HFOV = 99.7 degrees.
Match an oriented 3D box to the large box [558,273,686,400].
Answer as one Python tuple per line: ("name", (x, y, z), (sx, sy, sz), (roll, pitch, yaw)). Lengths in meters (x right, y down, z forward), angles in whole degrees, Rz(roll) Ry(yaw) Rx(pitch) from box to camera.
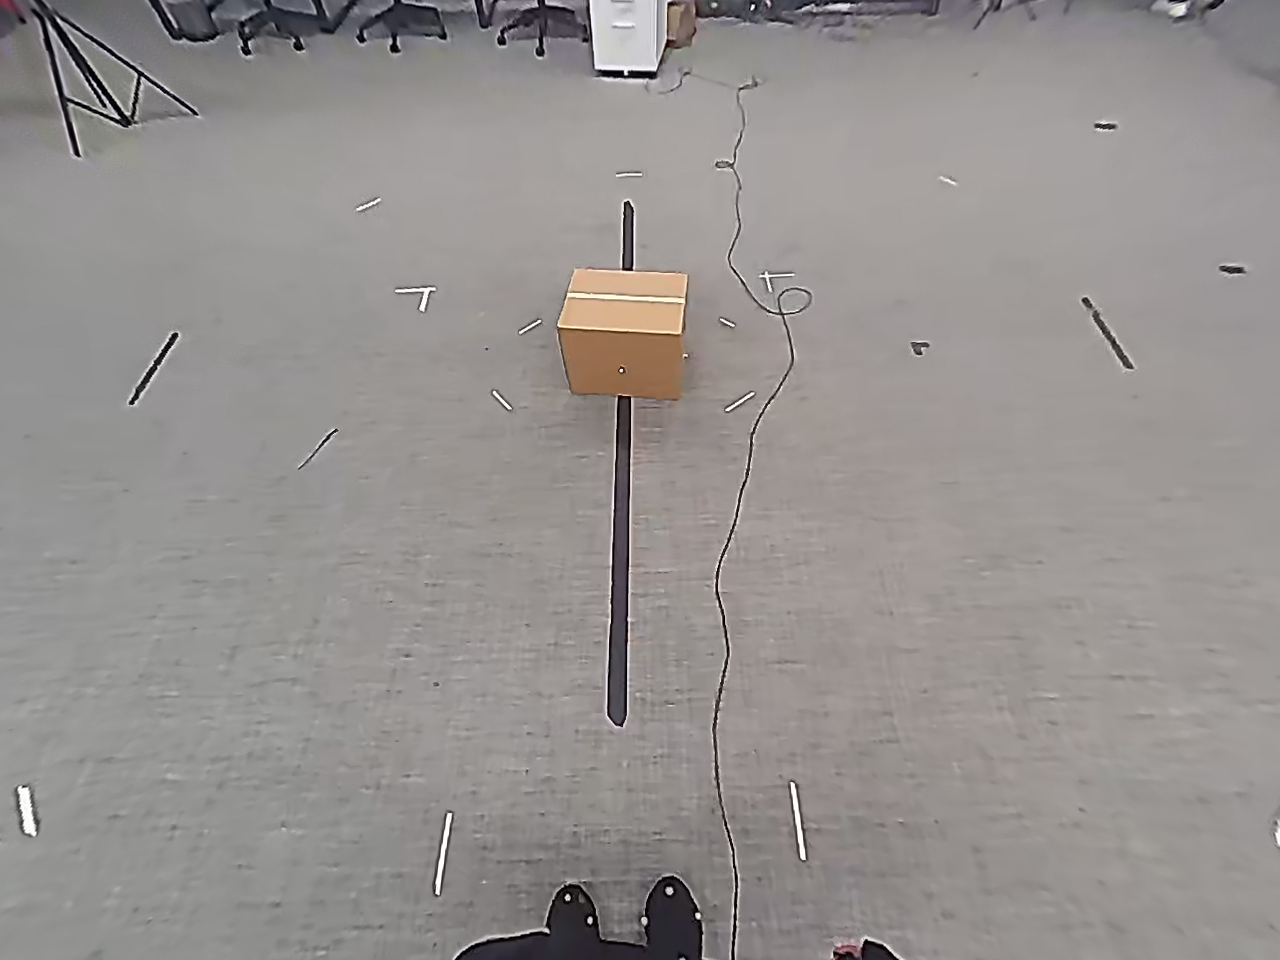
("large box", (-0.050, -0.506, 1.922), (0.408, 0.320, 0.320), (5, 57, 5))
